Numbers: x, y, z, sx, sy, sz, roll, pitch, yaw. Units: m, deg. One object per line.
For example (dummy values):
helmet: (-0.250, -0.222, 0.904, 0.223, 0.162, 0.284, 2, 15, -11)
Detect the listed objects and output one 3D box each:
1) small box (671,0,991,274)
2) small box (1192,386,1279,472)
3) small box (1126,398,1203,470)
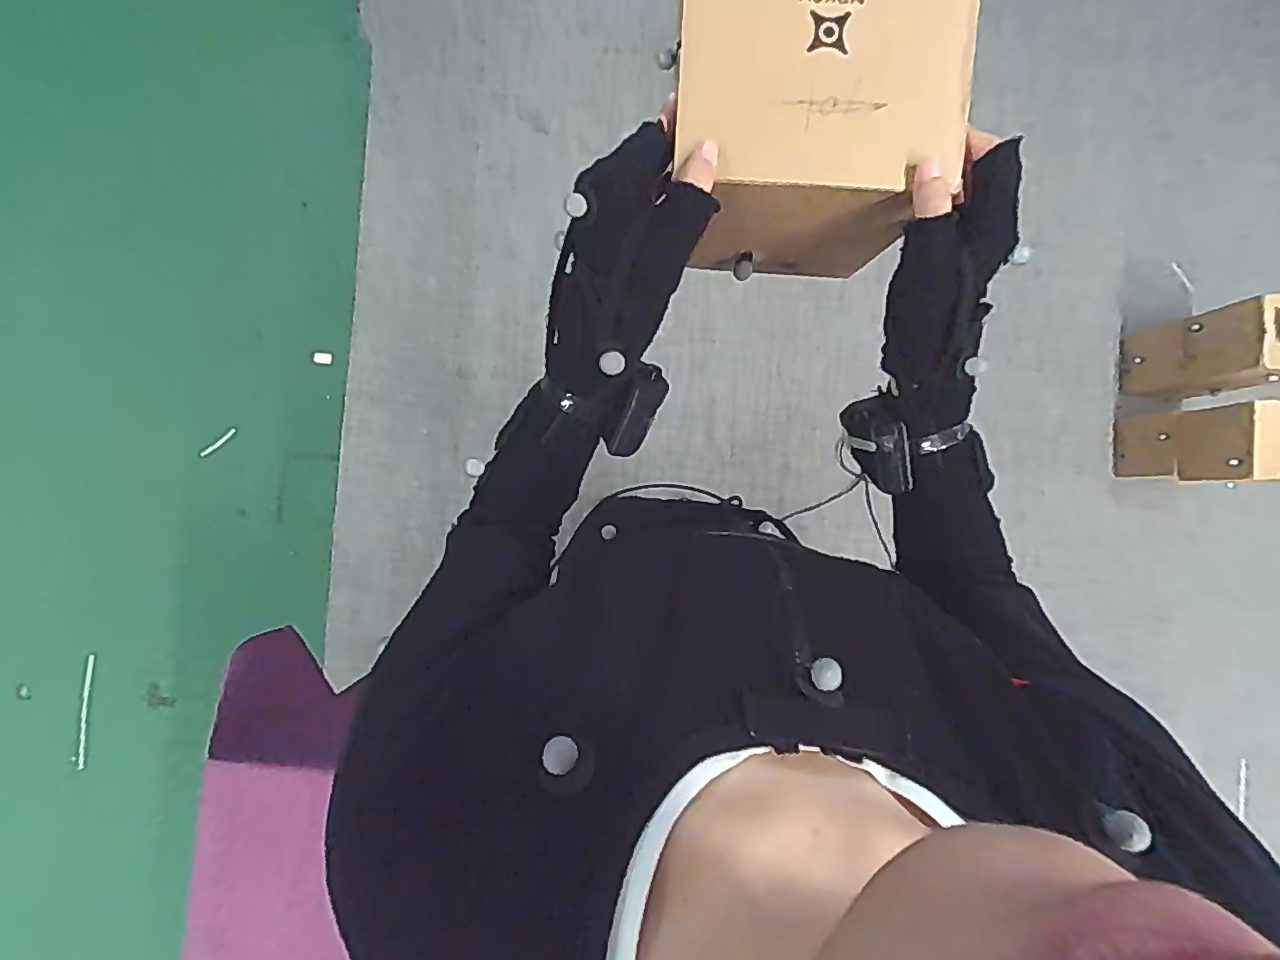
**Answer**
small box: (0.111, -0.262, 0.378, 0.168, 0.176, 0.179, 3, 96, 1)
small box: (1.405, -0.109, 1.217, 0.168, 0.176, 0.179, 1, 90, 1)
small box: (1.403, -0.113, 1.380, 0.179, 0.176, 0.168, 2, 89, 0)
